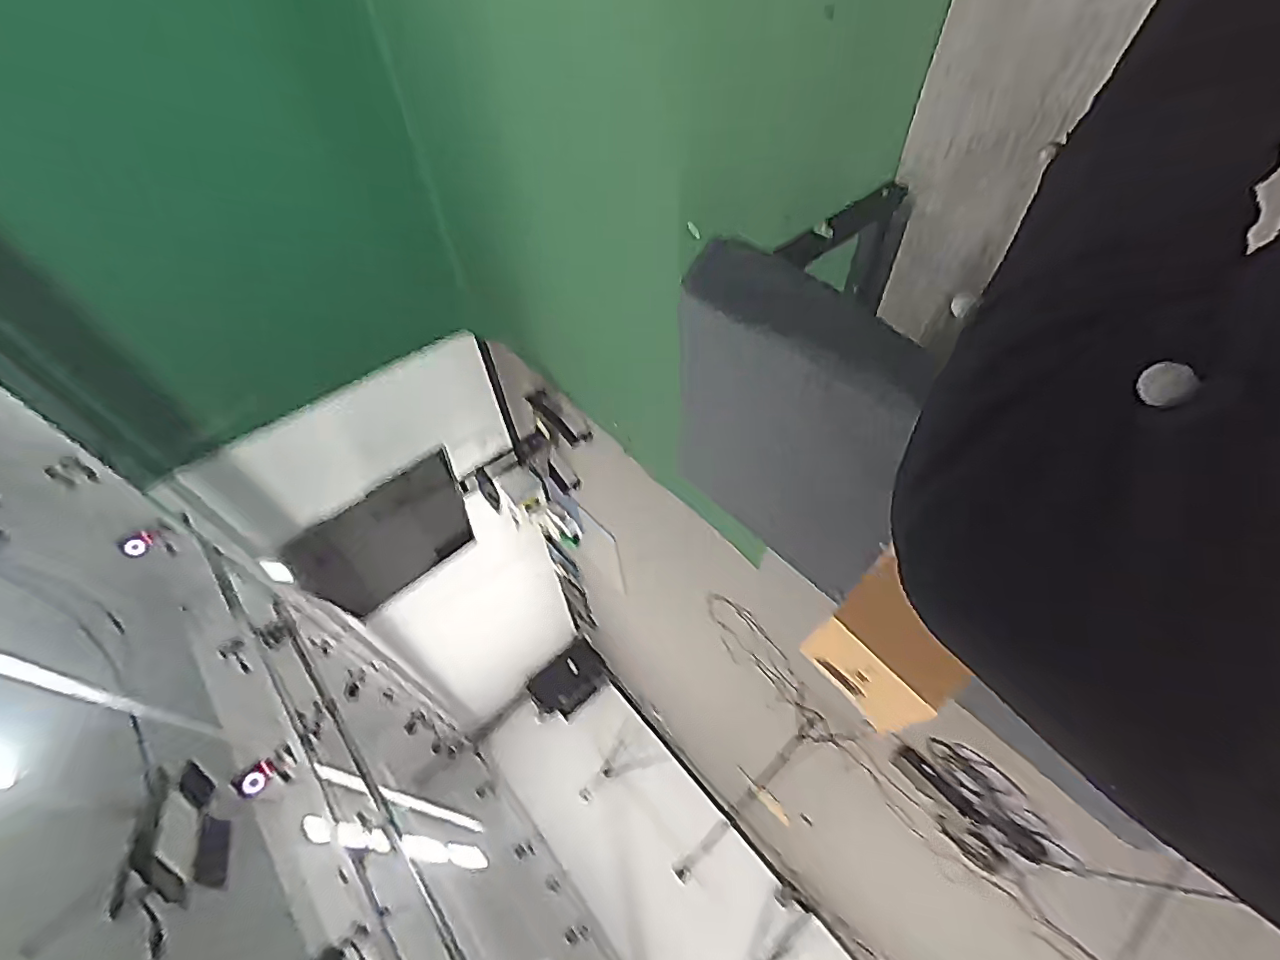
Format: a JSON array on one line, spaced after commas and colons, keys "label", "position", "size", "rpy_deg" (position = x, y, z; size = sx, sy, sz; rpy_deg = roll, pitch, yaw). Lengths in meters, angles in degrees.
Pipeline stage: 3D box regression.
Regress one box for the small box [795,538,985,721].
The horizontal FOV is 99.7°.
[{"label": "small box", "position": [0.361, 0.220, 0.798], "size": [0.168, 0.176, 0.179], "rpy_deg": [44, 160, 26]}]
